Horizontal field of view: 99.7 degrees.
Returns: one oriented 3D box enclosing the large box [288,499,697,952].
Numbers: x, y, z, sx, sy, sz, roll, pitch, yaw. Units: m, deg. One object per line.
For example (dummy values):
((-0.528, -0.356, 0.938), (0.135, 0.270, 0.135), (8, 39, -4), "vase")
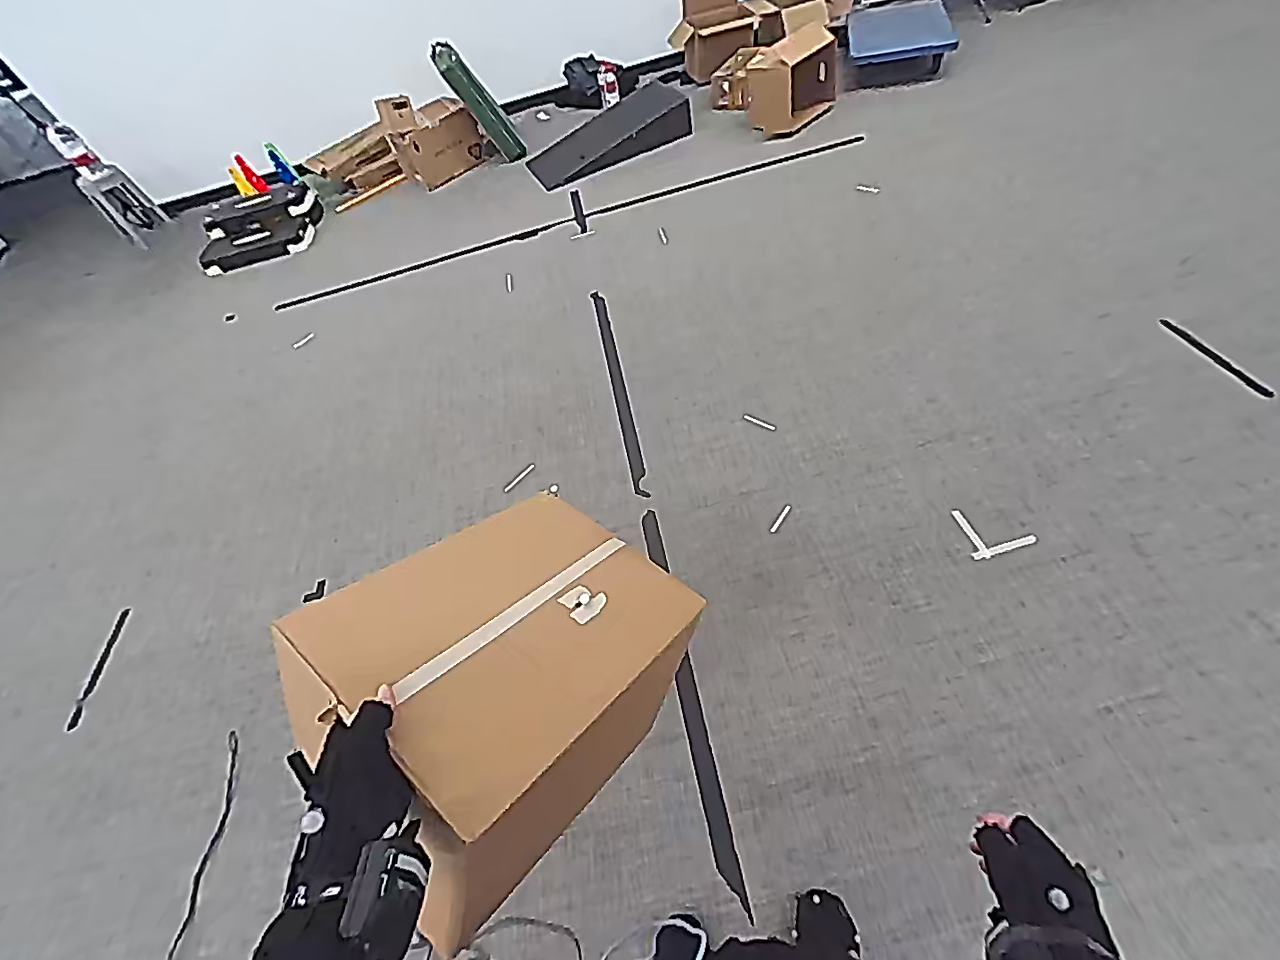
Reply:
((-0.184, 0.288, 0.743), (0.320, 0.320, 0.408), (33, 35, 22), "large box")
